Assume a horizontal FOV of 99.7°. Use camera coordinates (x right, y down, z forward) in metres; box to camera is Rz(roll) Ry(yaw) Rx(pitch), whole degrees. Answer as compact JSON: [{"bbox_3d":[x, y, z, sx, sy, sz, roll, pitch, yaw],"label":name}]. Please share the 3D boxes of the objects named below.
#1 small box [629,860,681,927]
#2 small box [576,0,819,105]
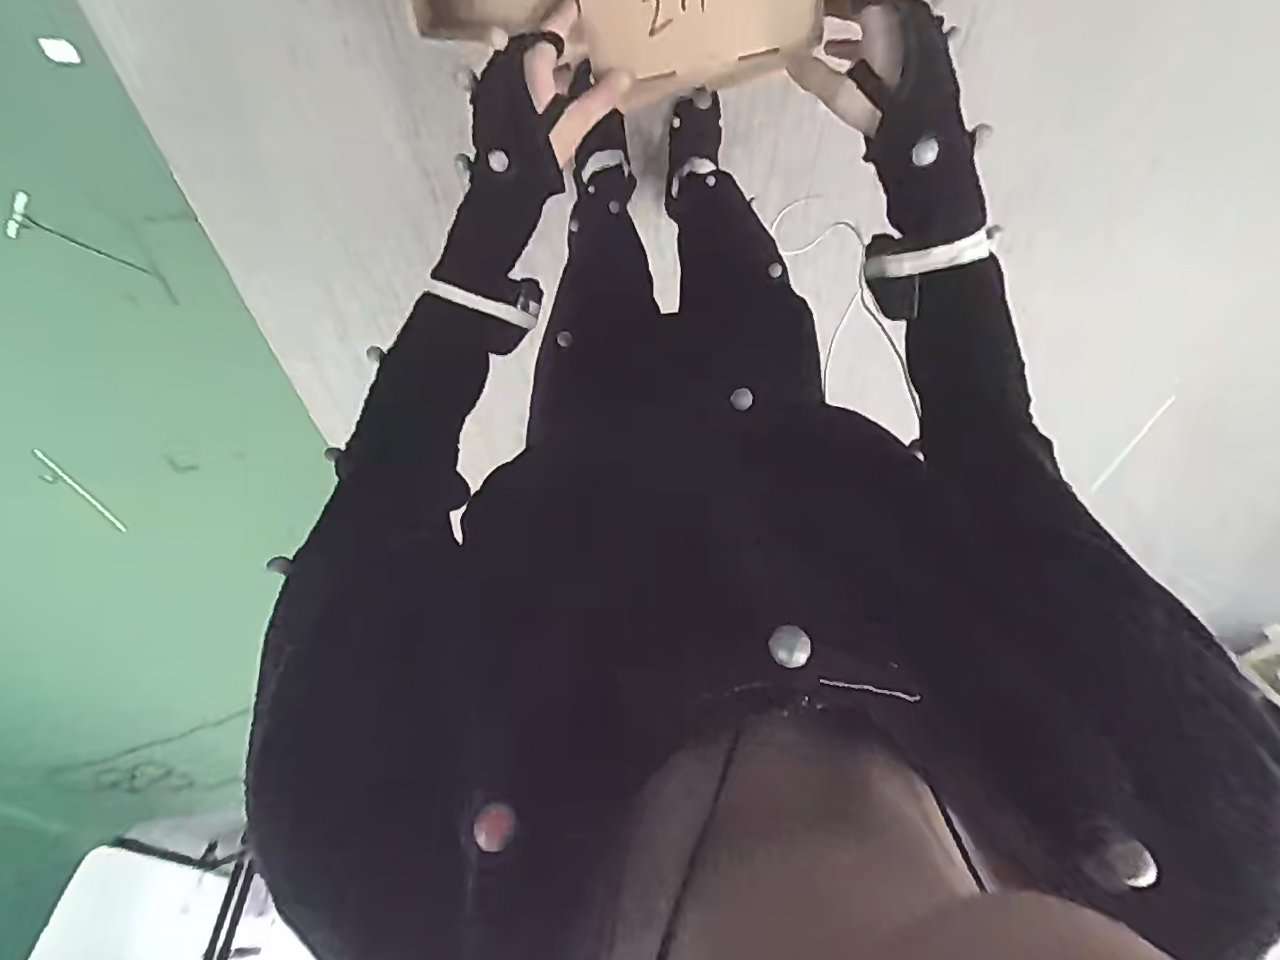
[{"bbox_3d":[0.050,1.511,1.977,0.179,0.176,0.168,-5,136,-3],"label":"small box"},{"bbox_3d":[0.036,-0.411,0.410,0.168,0.176,0.179,-6,119,10],"label":"small box"}]
